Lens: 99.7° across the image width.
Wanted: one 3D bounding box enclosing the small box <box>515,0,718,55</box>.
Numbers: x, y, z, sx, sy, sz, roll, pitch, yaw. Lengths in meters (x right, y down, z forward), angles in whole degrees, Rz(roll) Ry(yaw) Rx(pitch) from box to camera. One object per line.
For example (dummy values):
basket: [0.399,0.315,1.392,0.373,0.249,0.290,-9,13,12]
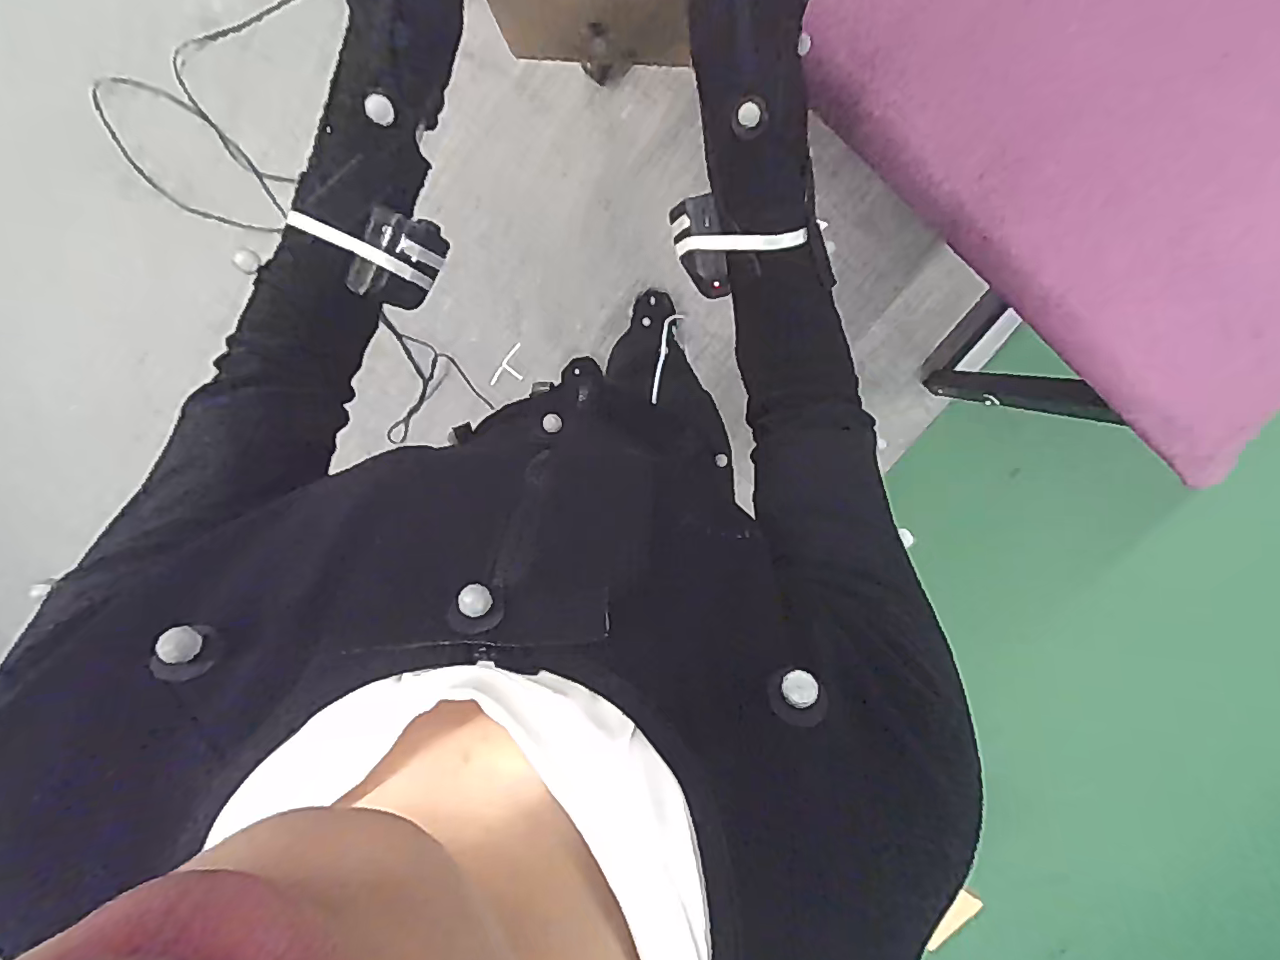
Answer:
small box: [-0.019,-0.441,0.374,0.168,0.176,0.179,3,105,1]
